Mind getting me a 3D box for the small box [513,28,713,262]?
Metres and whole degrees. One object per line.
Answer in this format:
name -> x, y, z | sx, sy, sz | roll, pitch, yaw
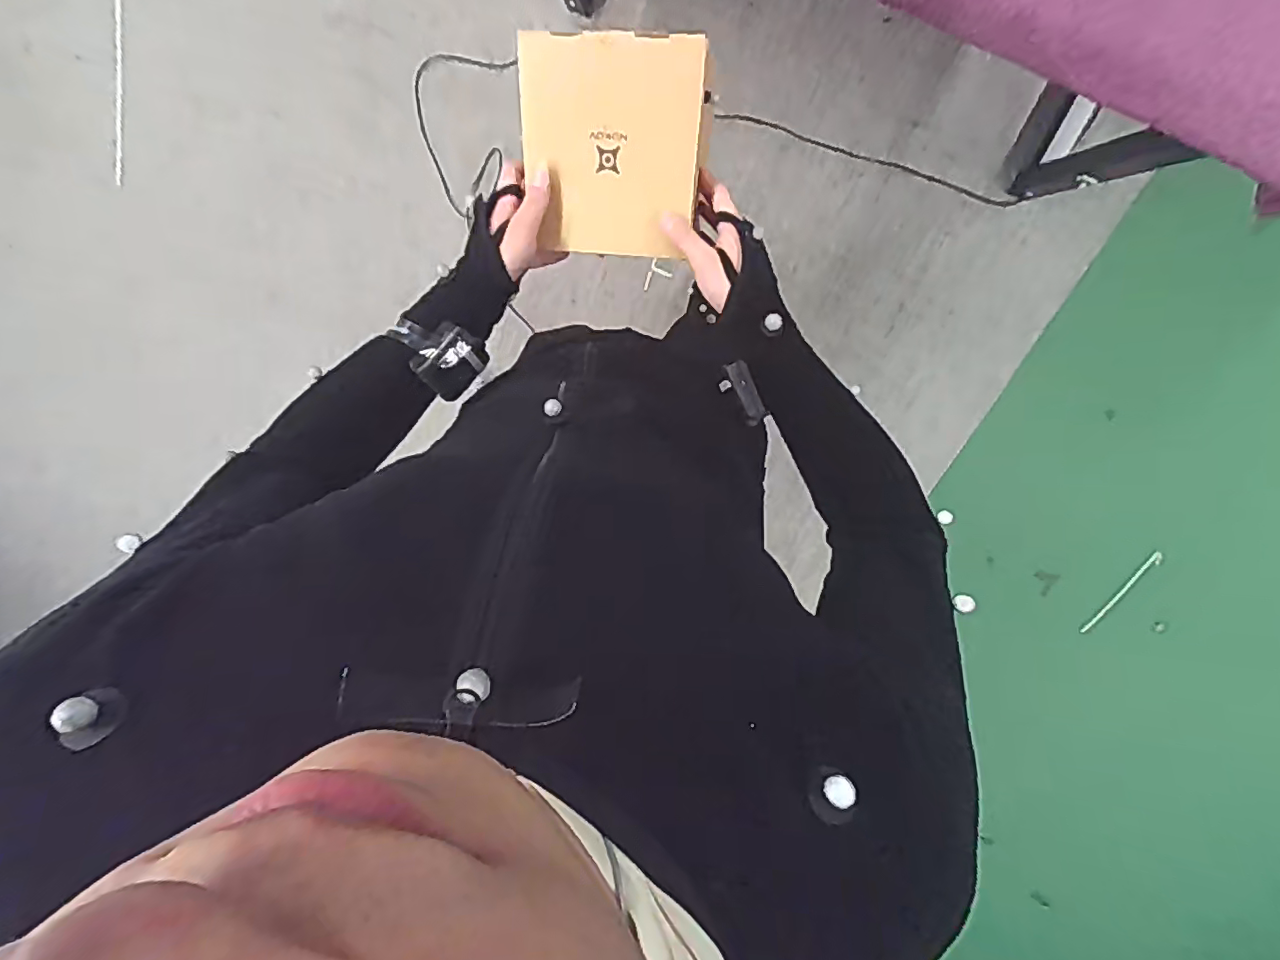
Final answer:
small box -> -0.018, -0.338, 0.558 | 0.168, 0.176, 0.179 | 7, 122, 7
